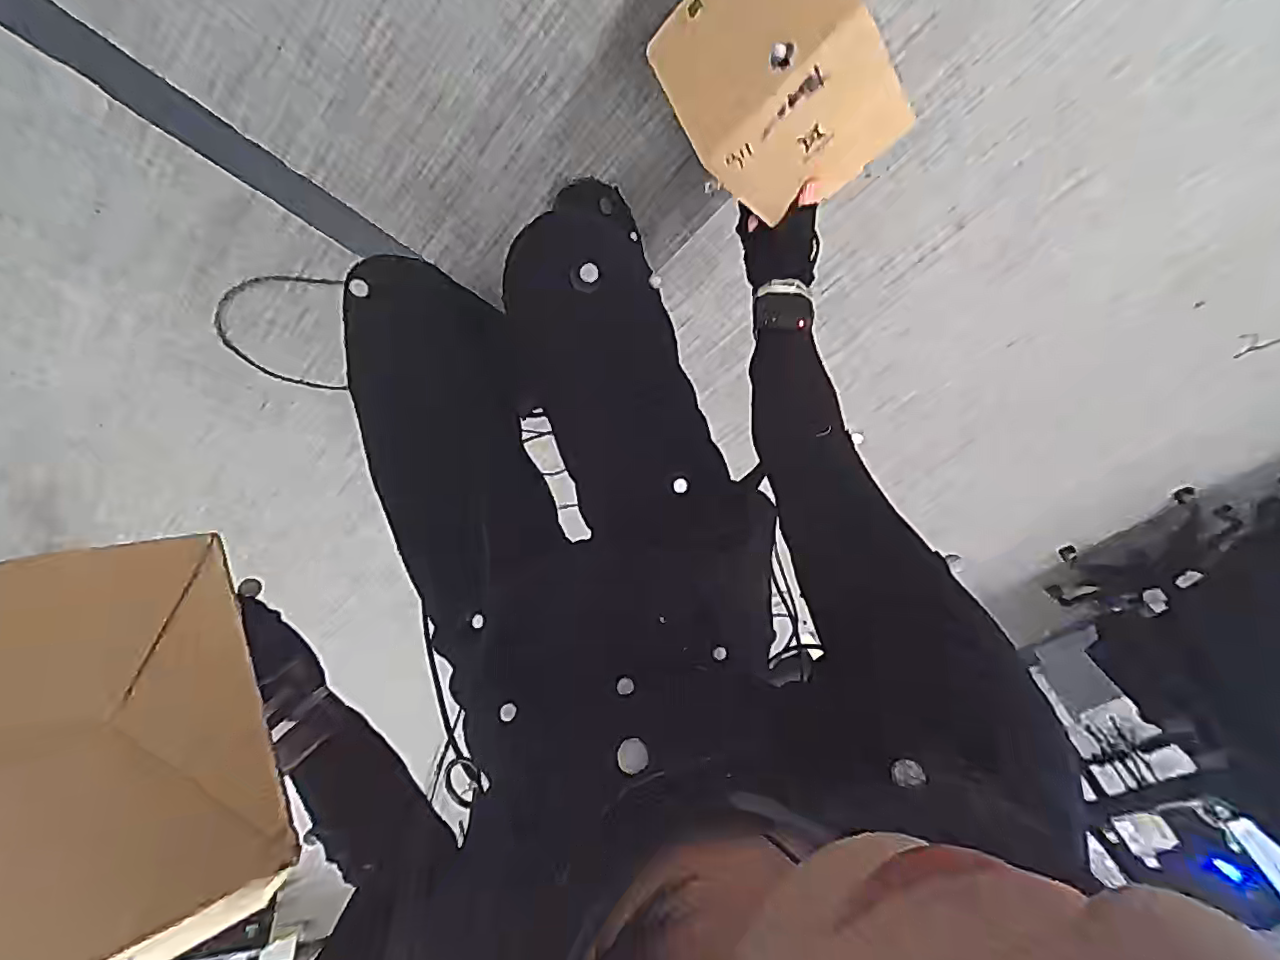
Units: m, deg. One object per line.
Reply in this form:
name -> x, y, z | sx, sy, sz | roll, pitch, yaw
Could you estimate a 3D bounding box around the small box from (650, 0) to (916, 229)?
small box -> 0.141, -0.398, 0.538 | 0.168, 0.176, 0.179 | -32, 162, 34
